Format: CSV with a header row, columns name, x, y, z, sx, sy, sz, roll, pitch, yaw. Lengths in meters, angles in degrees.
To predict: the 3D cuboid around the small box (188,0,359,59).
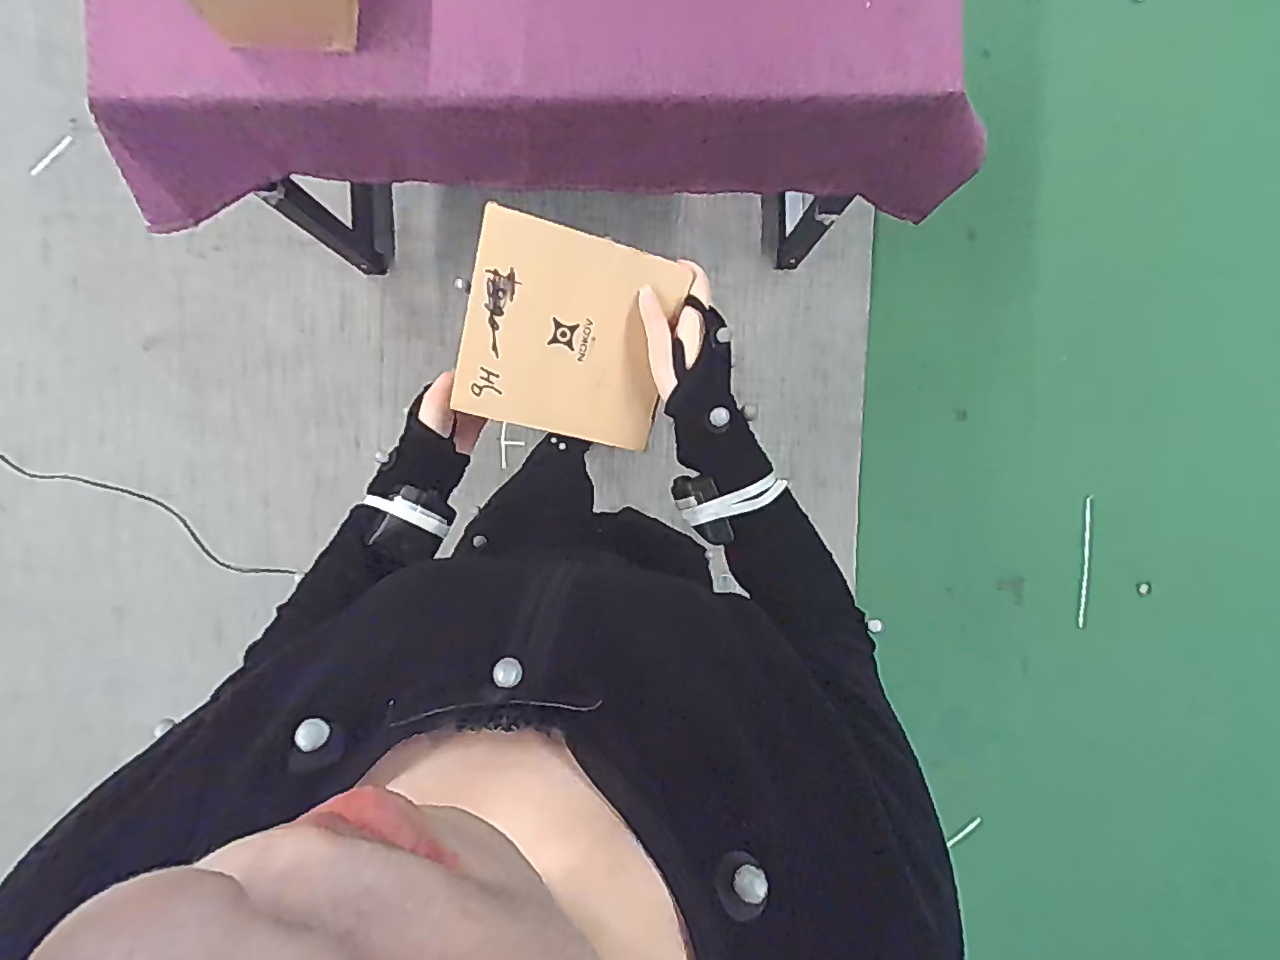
name,x,y,z,sx,sy,sz,roll,pitch,yaw
small box,-0.470,-0.659,0.659,0.179,0.176,0.168,2,92,-2
